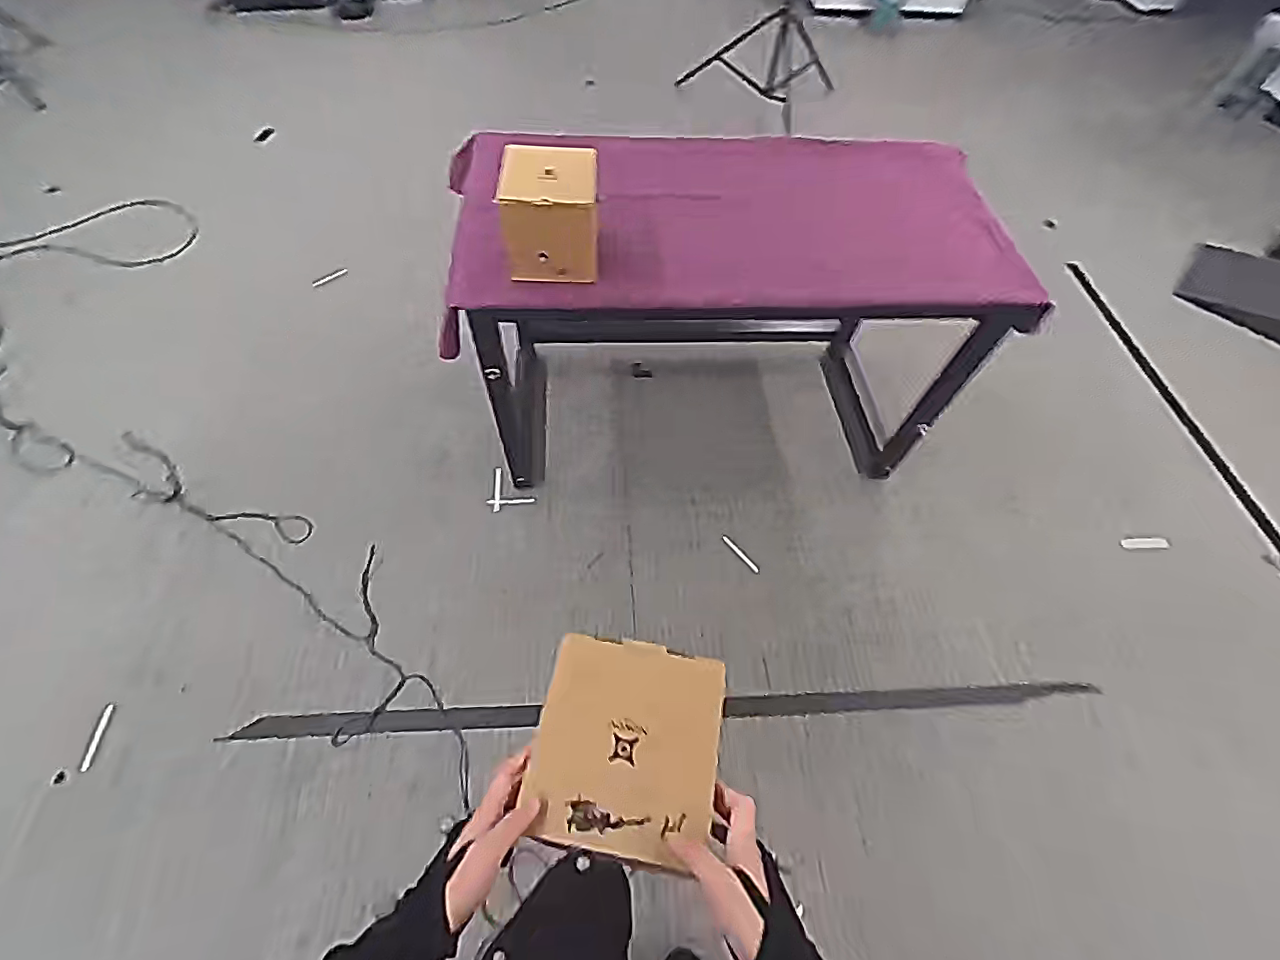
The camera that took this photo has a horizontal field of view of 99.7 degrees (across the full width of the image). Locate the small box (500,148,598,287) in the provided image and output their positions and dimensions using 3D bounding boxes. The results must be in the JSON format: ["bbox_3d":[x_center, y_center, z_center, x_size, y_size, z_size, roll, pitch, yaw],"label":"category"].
[{"bbox_3d":[-0.166,-0.500,1.038,0.168,0.176,0.179,1,60,-4],"label":"small box"}]
